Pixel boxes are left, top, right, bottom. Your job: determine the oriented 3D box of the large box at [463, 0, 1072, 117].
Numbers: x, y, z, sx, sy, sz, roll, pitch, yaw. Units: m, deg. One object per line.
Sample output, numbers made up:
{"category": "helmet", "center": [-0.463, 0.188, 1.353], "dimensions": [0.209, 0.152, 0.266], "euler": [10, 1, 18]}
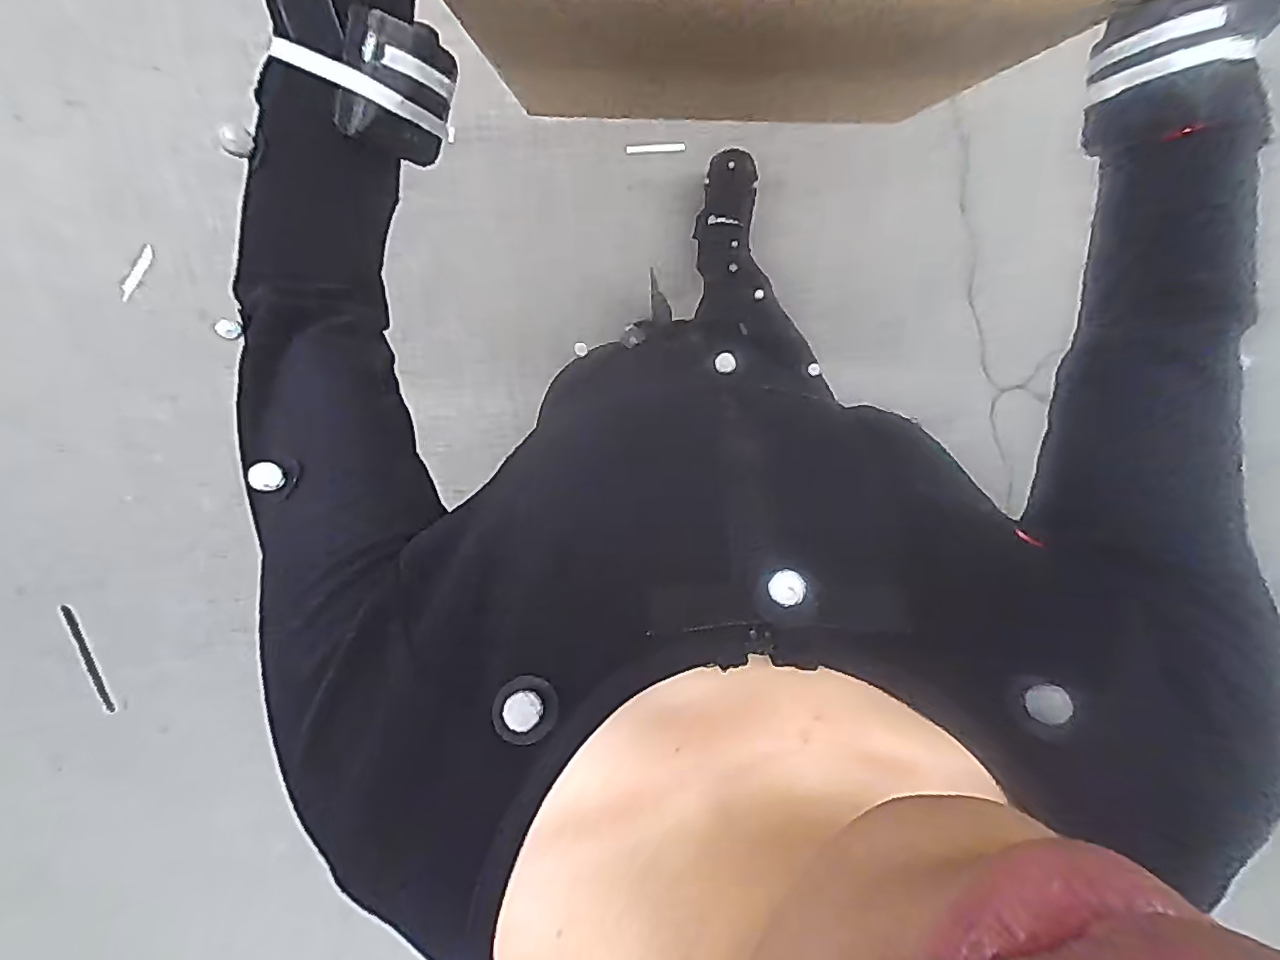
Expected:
{"category": "large box", "center": [0.079, -0.480, 0.386], "dimensions": [0.408, 0.320, 0.320], "euler": [0, 113, -1]}
